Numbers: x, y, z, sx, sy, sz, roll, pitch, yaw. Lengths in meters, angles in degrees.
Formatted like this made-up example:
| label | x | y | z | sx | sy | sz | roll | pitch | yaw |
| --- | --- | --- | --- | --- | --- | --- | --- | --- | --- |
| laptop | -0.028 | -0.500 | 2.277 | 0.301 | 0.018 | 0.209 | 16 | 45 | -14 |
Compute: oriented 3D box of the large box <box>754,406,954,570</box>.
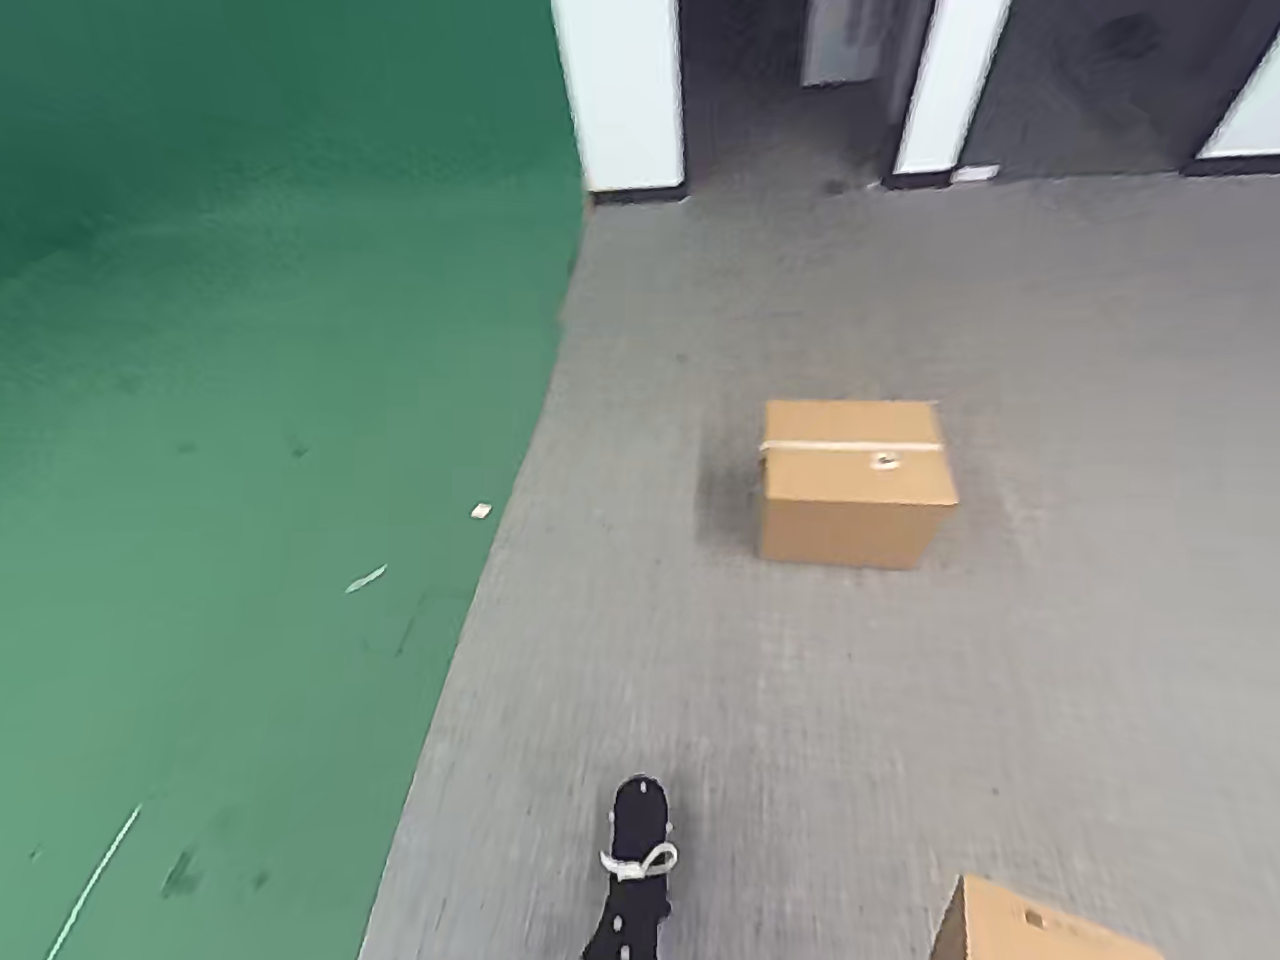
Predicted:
| label | x | y | z | sx | sy | sz | roll | pitch | yaw |
| --- | --- | --- | --- | --- | --- | --- | --- | --- | --- |
| large box | 0.514 | 0.024 | 1.403 | 0.408 | 0.320 | 0.320 | 2 | 54 | 8 |
